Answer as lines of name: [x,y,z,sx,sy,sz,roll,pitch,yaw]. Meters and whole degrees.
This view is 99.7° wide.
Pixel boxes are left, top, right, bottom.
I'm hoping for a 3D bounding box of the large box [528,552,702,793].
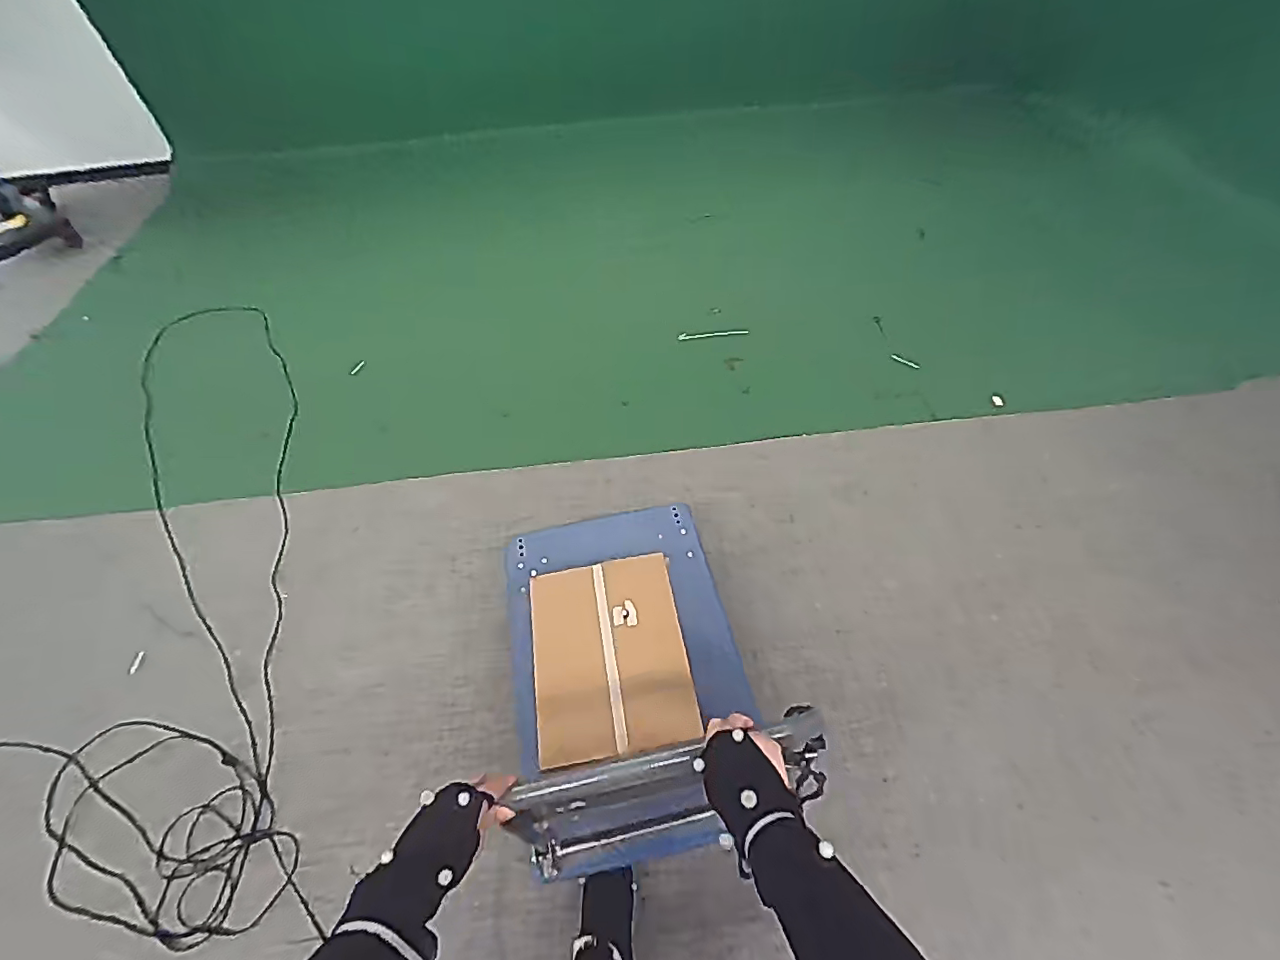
large box: [-0.058,0.435,1.226,0.320,0.320,0.408,-9,52,-3]
